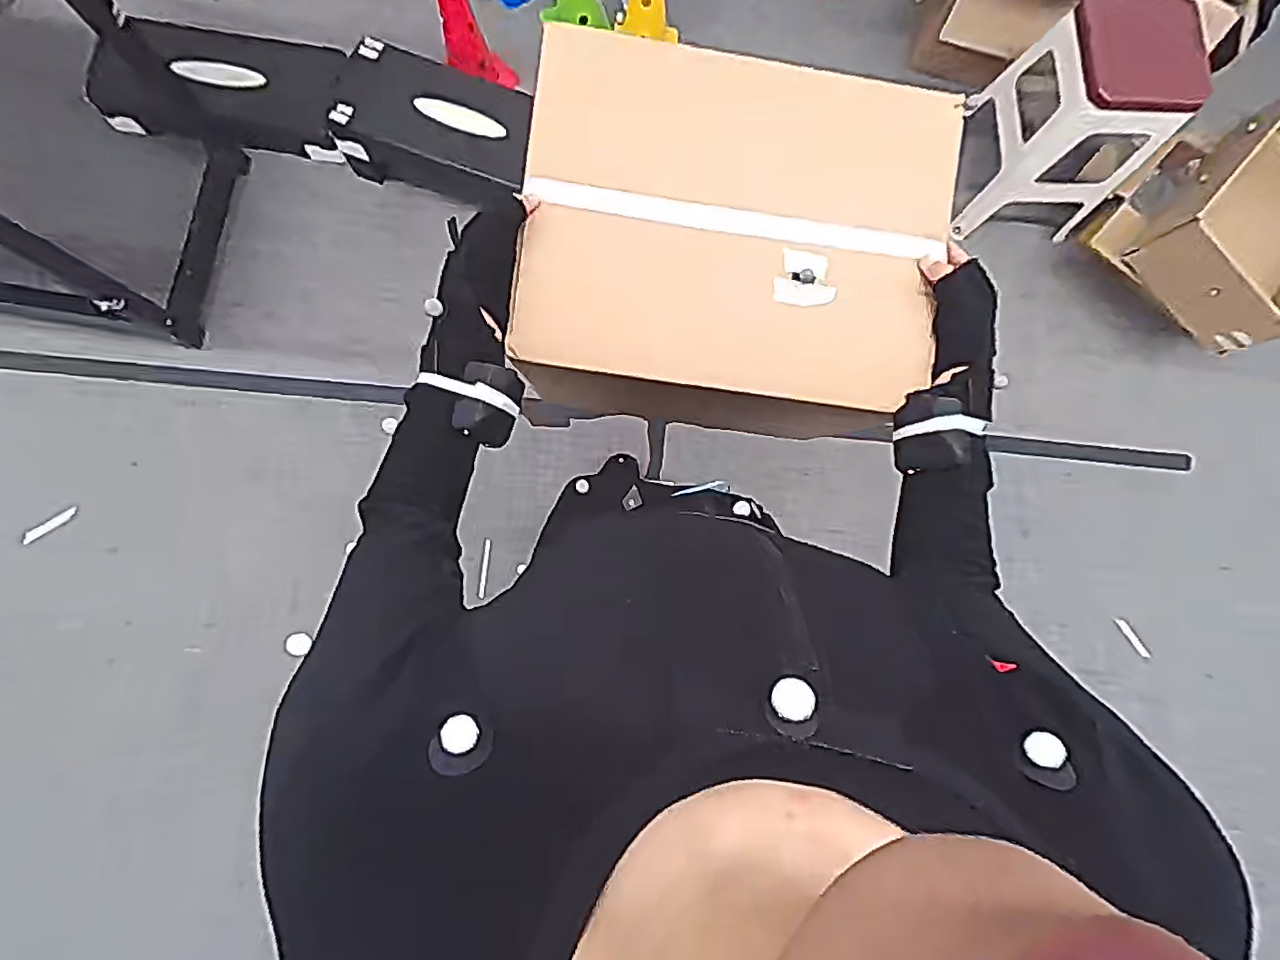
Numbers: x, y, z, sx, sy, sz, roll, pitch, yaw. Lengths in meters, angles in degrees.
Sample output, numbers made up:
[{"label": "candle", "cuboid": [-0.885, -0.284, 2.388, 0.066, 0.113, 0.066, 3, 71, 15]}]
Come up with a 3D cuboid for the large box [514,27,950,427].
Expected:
[{"label": "large box", "cuboid": [0.082, -0.254, 0.670, 0.408, 0.320, 0.320, 8, 91, -4]}]
